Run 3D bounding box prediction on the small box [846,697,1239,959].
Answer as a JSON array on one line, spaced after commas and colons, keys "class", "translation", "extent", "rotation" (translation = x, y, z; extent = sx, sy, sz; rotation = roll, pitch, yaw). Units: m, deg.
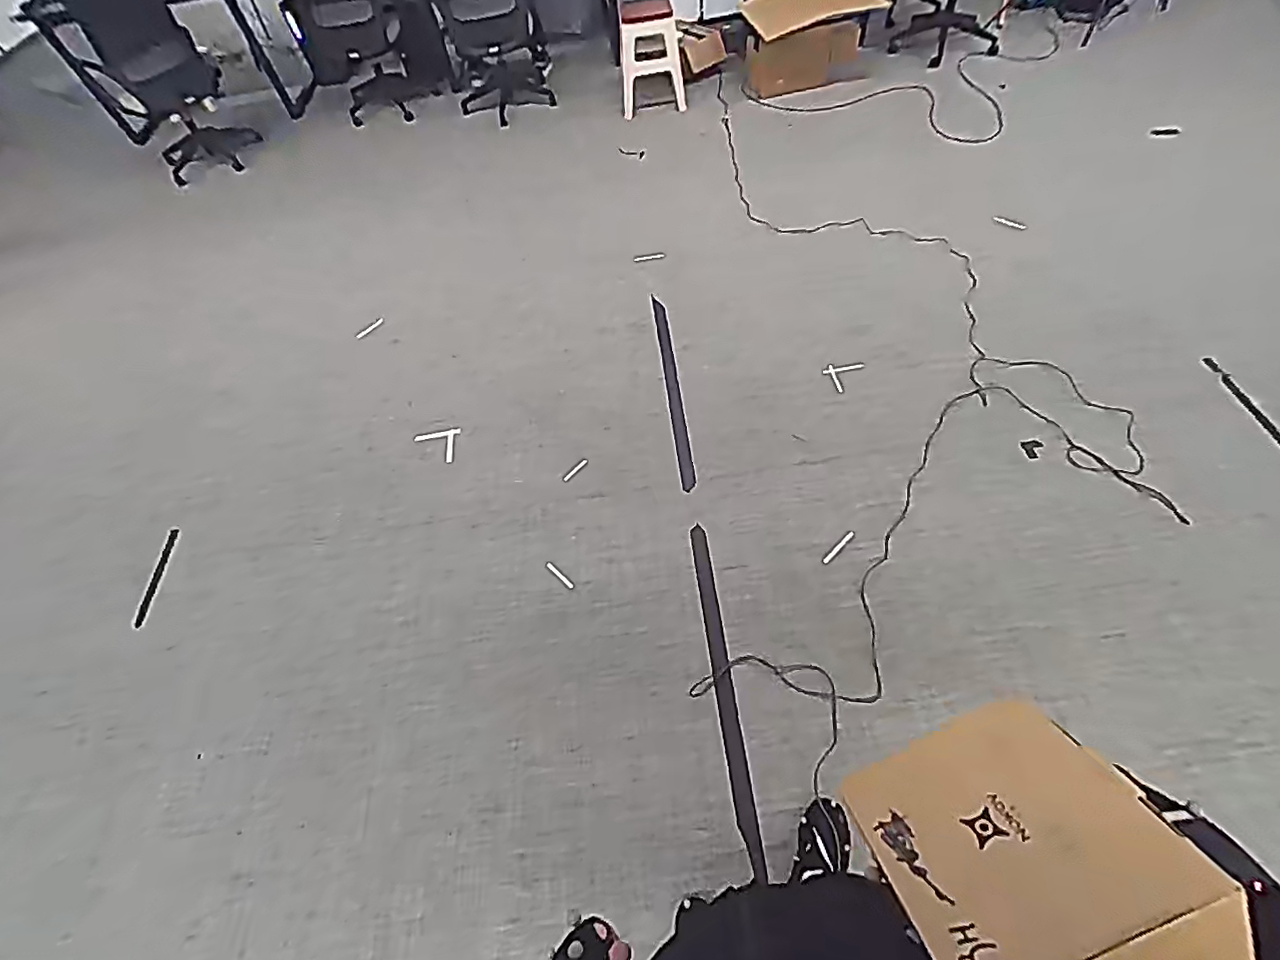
[{"class": "small box", "translation": [0.300, 0.318, 0.423], "extent": [0.179, 0.176, 0.168], "rotation": [-29, 19, 3]}]
